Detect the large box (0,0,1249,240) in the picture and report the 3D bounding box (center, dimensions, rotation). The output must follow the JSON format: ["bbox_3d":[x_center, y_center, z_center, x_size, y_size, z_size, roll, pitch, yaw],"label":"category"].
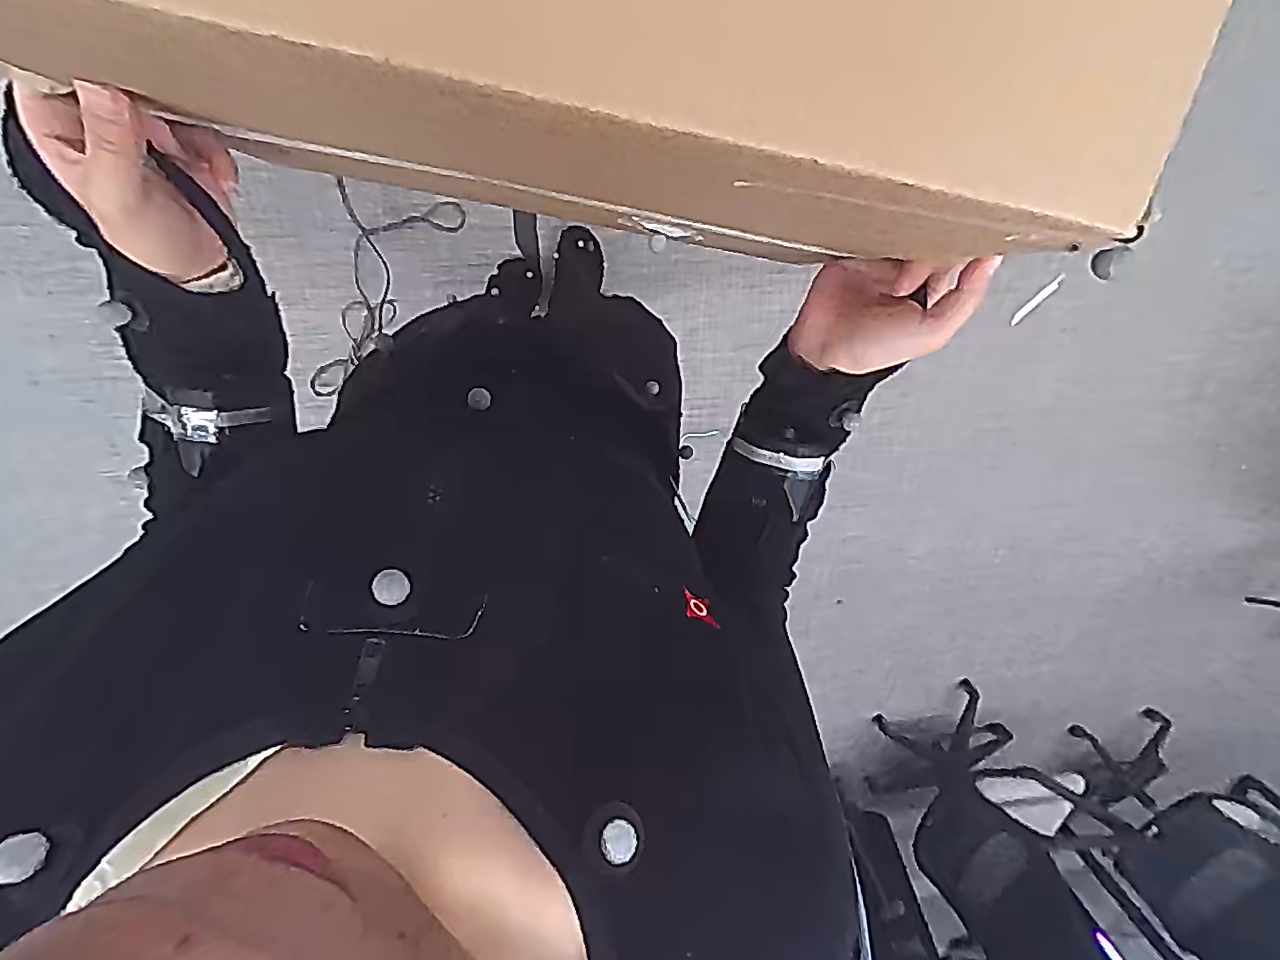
[{"bbox_3d":[-0.017,-0.308,0.231,0.408,0.320,0.320,5,111,-11],"label":"large box"}]
